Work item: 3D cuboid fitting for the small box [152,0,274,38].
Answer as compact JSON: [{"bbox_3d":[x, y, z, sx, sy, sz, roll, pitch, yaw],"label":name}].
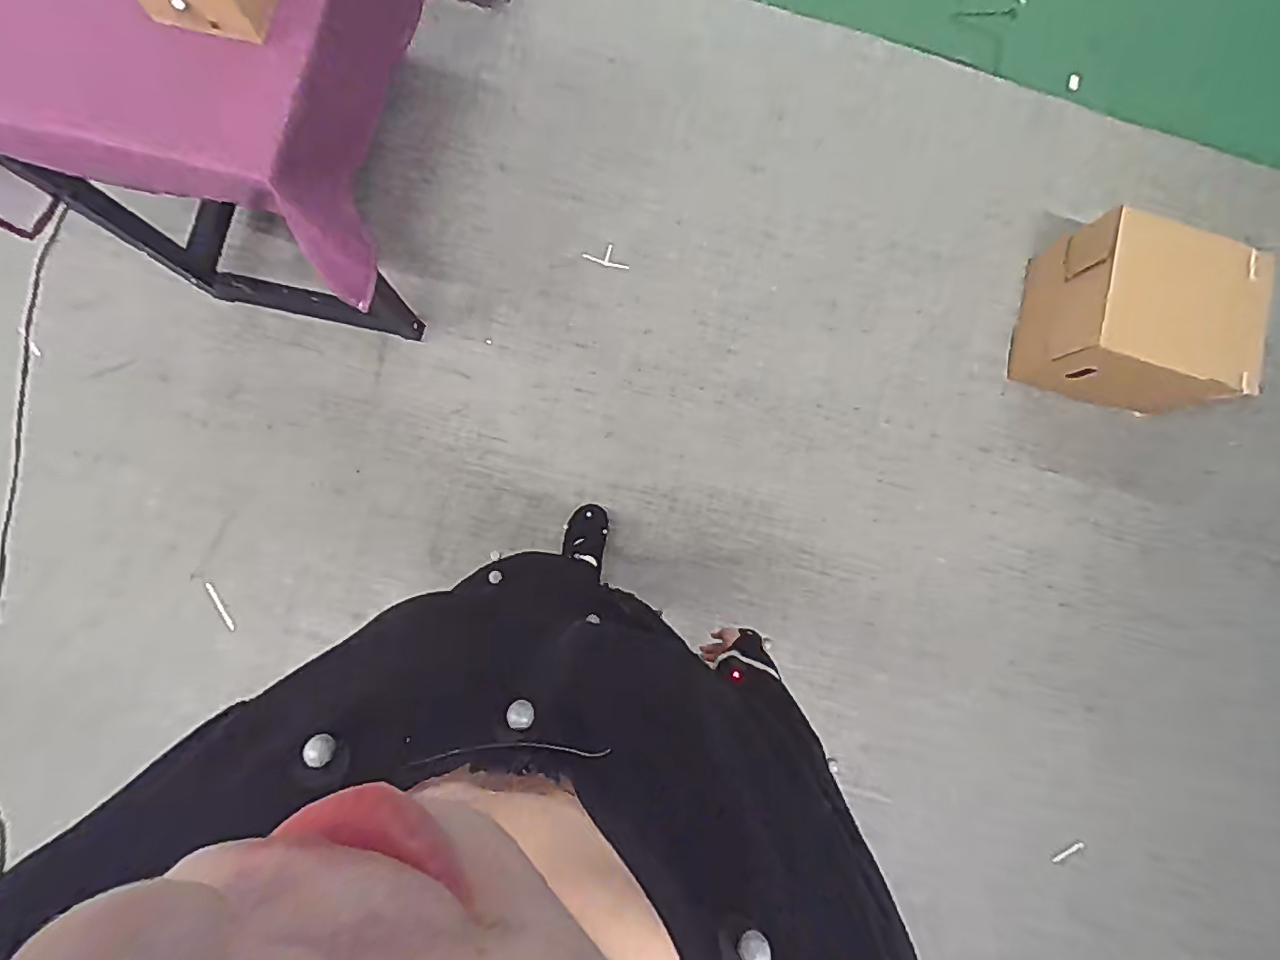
[{"bbox_3d":[-0.632,-0.780,0.751,0.168,0.176,0.179,12,83,-2],"label":"small box"}]
